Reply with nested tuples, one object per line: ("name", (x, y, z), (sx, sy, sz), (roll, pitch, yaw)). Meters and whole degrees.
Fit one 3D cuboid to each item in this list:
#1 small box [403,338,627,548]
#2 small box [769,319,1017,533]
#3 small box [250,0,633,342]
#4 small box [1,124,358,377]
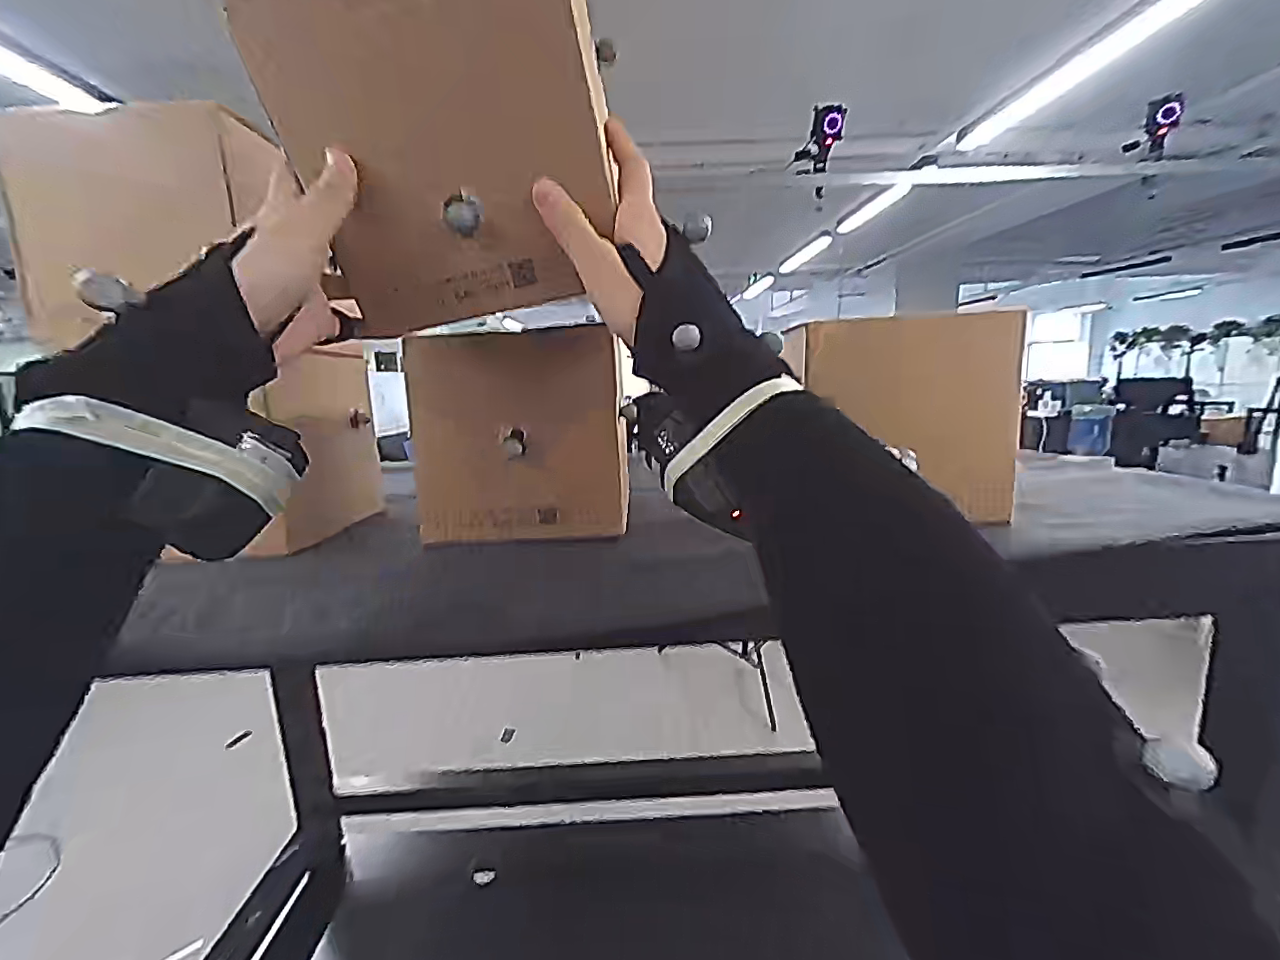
("small box", (-0.098, -0.036, 0.510), (0.168, 0.176, 0.179), (-2, 9, -1))
("small box", (0.215, -0.052, 0.511), (0.168, 0.176, 0.179), (-3, 10, 5))
("small box", (-0.102, -0.208, 0.373), (0.168, 0.176, 0.179), (-11, 30, 5))
("small box", (-0.373, -0.181, 0.478), (0.168, 0.176, 0.179), (-4, 9, -2))
